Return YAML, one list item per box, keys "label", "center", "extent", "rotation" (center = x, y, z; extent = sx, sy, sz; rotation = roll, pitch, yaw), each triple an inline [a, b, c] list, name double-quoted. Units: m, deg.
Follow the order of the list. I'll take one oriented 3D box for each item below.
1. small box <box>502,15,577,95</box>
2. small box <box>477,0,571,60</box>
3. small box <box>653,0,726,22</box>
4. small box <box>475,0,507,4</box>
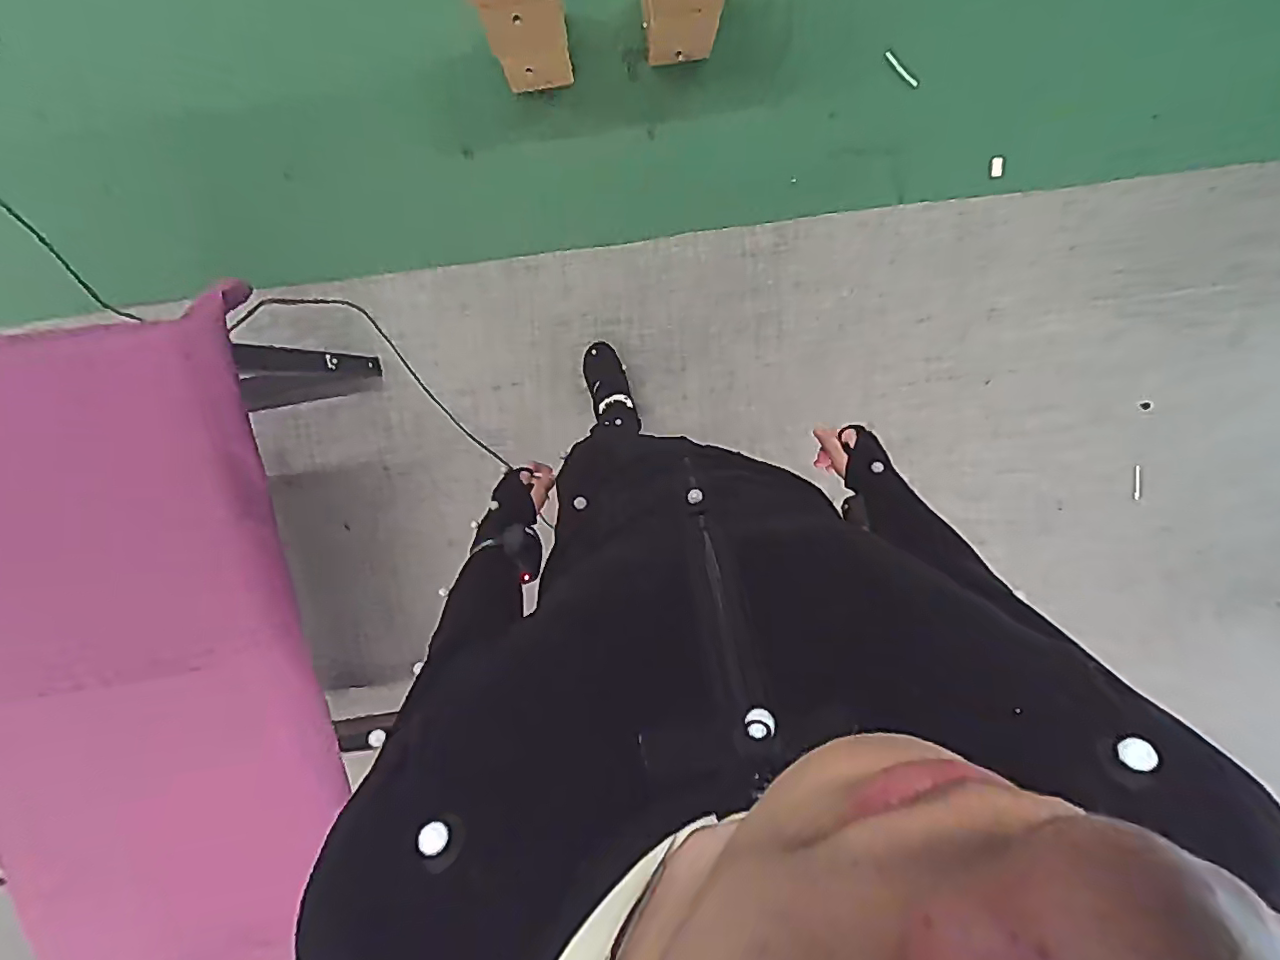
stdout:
- label: "small box"
  center: [-0.260, -1.104, 1.357]
  extent: [0.168, 0.176, 0.179]
  rotation: [-9, 98, 1]
- label: "small box"
  center: [-0.261, -1.073, 1.195]
  extent: [0.179, 0.176, 0.168]
  rotation: [-9, 99, 1]
- label: "small box"
  center: [0.109, -1.151, 1.185]
  extent: [0.168, 0.176, 0.179]
  rotation: [-9, 100, 0]
- label: "small box"
  center: [-0.282, -1.059, 1.031]
  extent: [0.168, 0.176, 0.179]
  rotation: [-8, 99, 2]
